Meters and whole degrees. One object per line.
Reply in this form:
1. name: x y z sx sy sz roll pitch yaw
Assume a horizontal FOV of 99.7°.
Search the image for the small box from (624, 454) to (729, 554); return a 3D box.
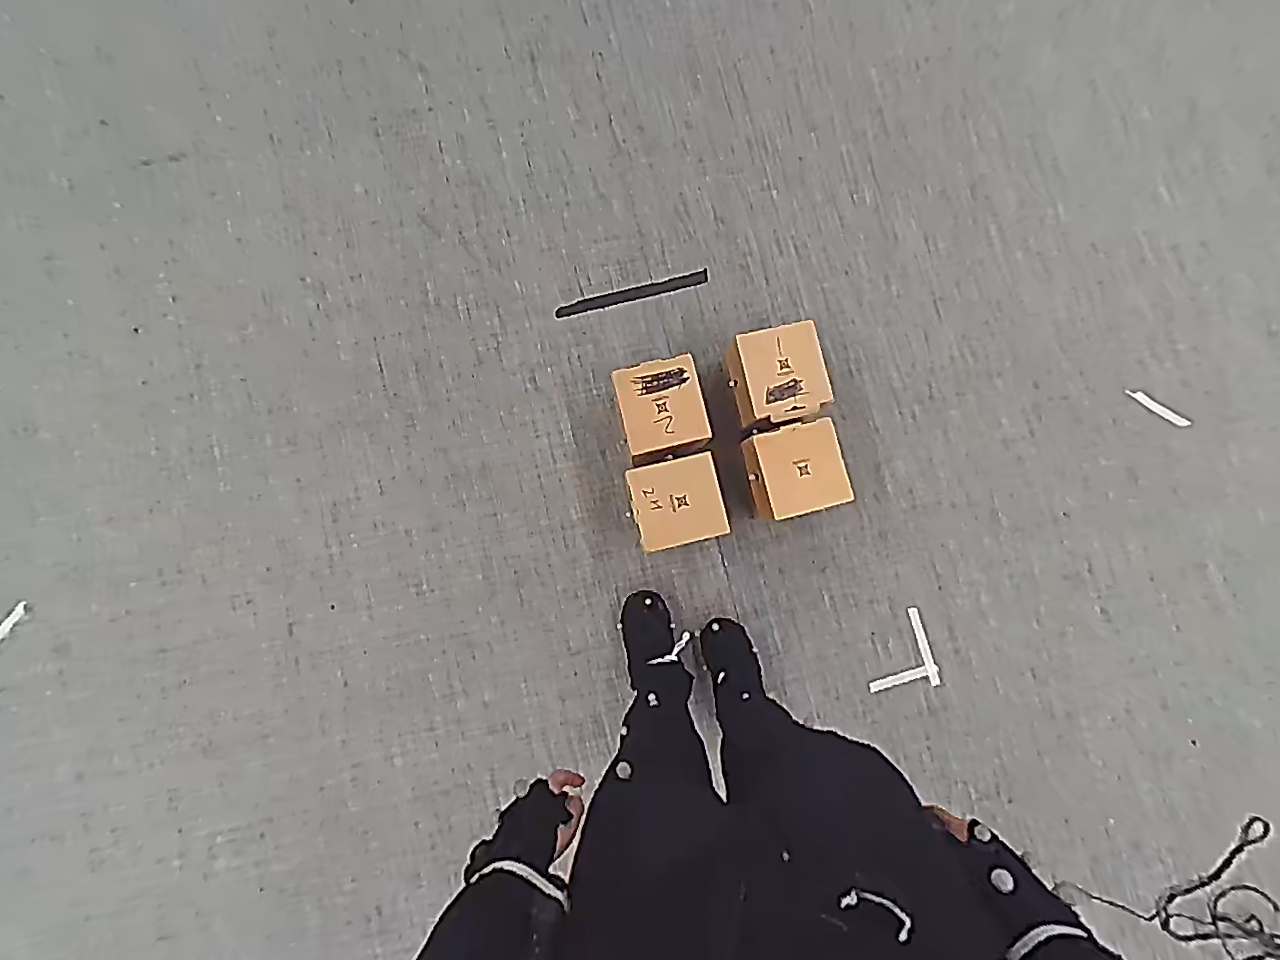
1. small box: 0.067 0.050 1.120 0.179 0.176 0.168 -13 86 -3
